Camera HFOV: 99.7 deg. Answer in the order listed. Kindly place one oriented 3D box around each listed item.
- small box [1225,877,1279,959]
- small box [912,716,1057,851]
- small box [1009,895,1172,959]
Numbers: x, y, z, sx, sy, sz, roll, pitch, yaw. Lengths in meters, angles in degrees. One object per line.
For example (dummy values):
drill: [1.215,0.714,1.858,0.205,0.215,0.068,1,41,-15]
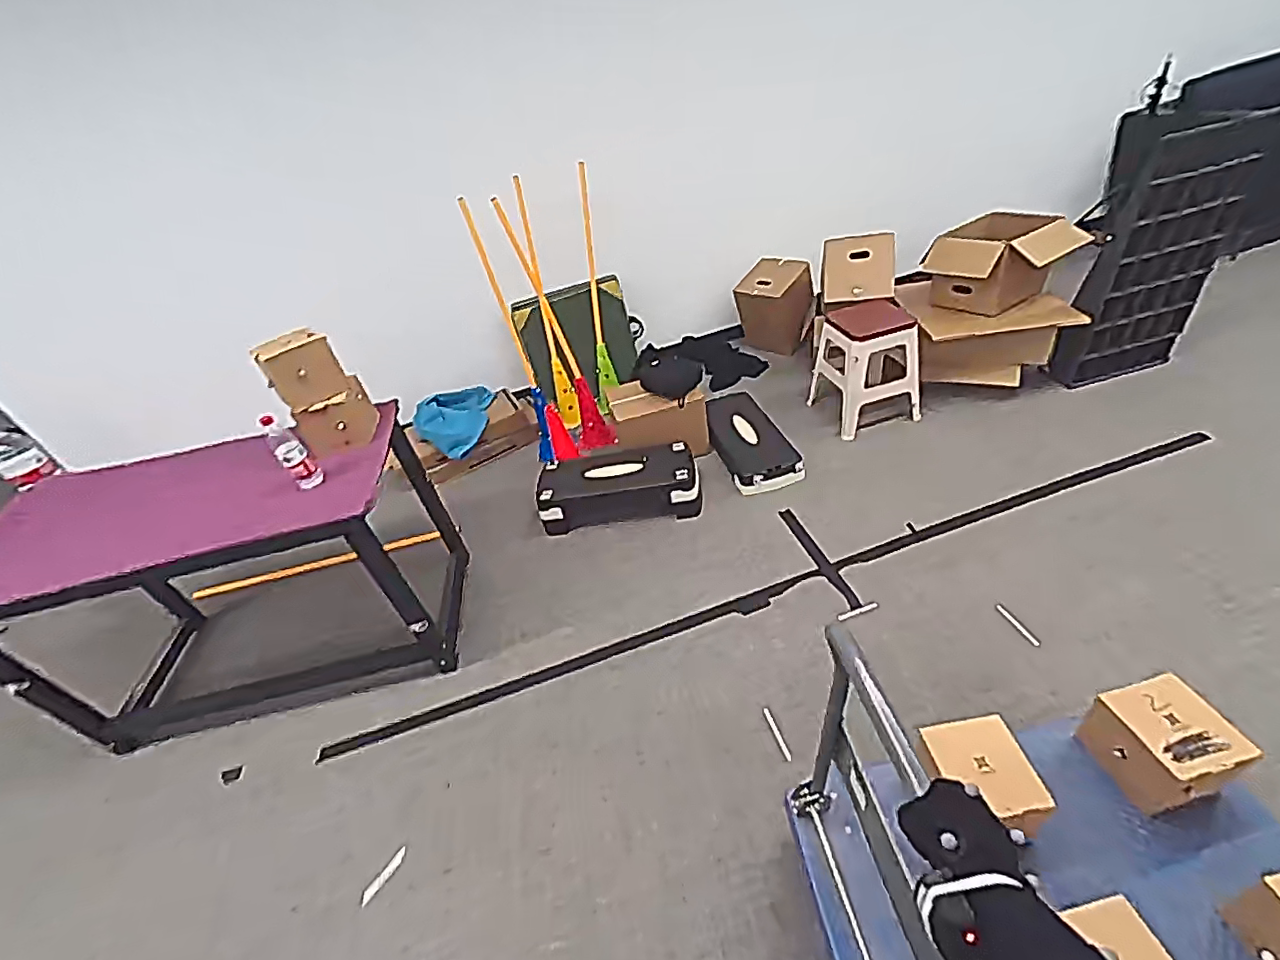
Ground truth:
small box: [1.082,0.715,0.826,0.179,0.176,0.168,-13,38,1]
small box: [0.671,0.607,1.083,0.168,0.176,0.179,-11,39,2]
small box: [0.717,0.790,0.836,0.168,0.176,0.179,-14,38,-2]
